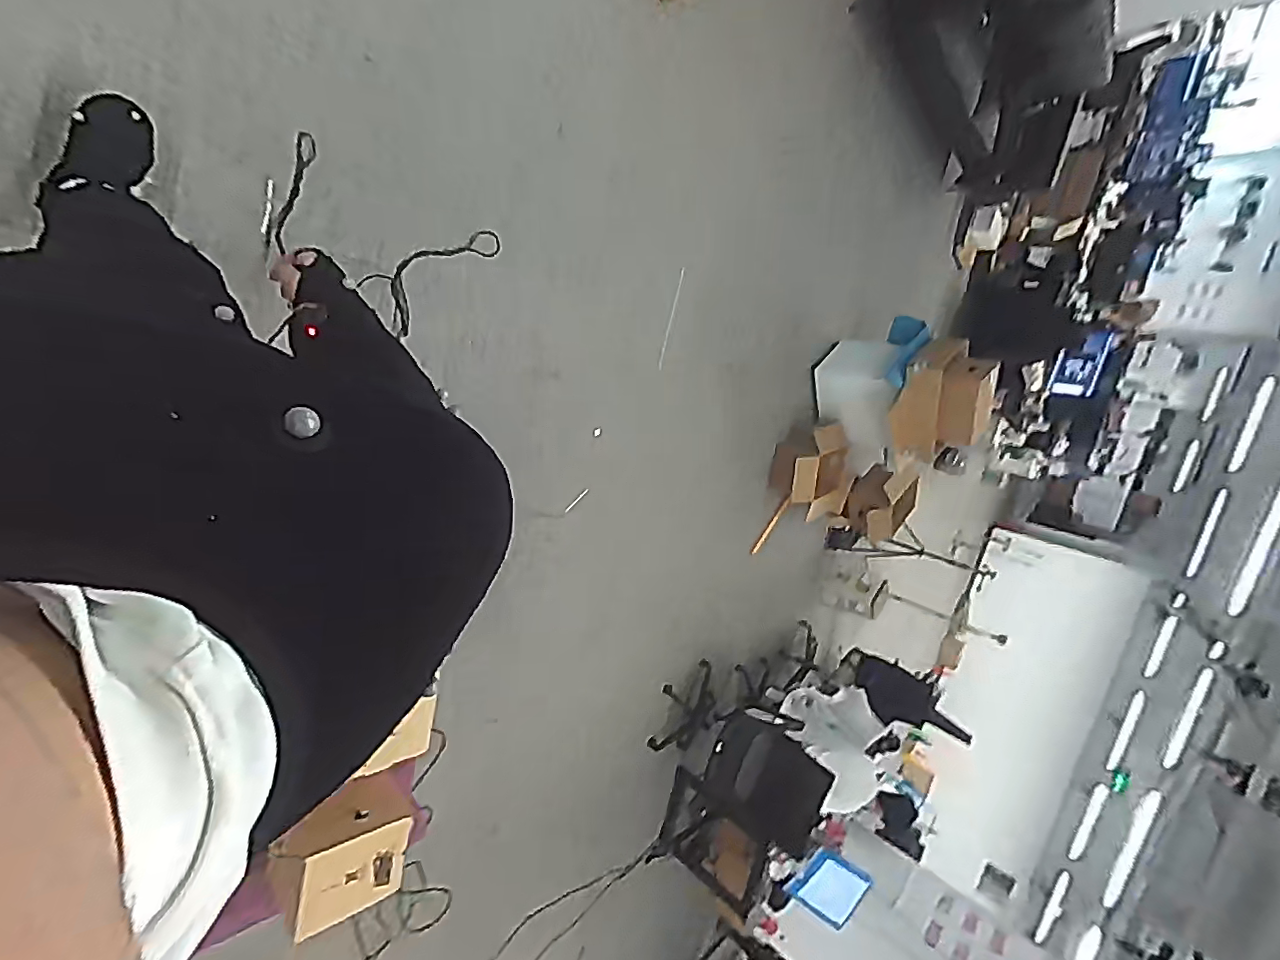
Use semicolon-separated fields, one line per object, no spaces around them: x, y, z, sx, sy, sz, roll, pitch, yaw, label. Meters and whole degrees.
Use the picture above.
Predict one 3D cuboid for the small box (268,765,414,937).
-0.546;0.650;0.984;0.179;0.176;0.168;4;103;-48;small box
